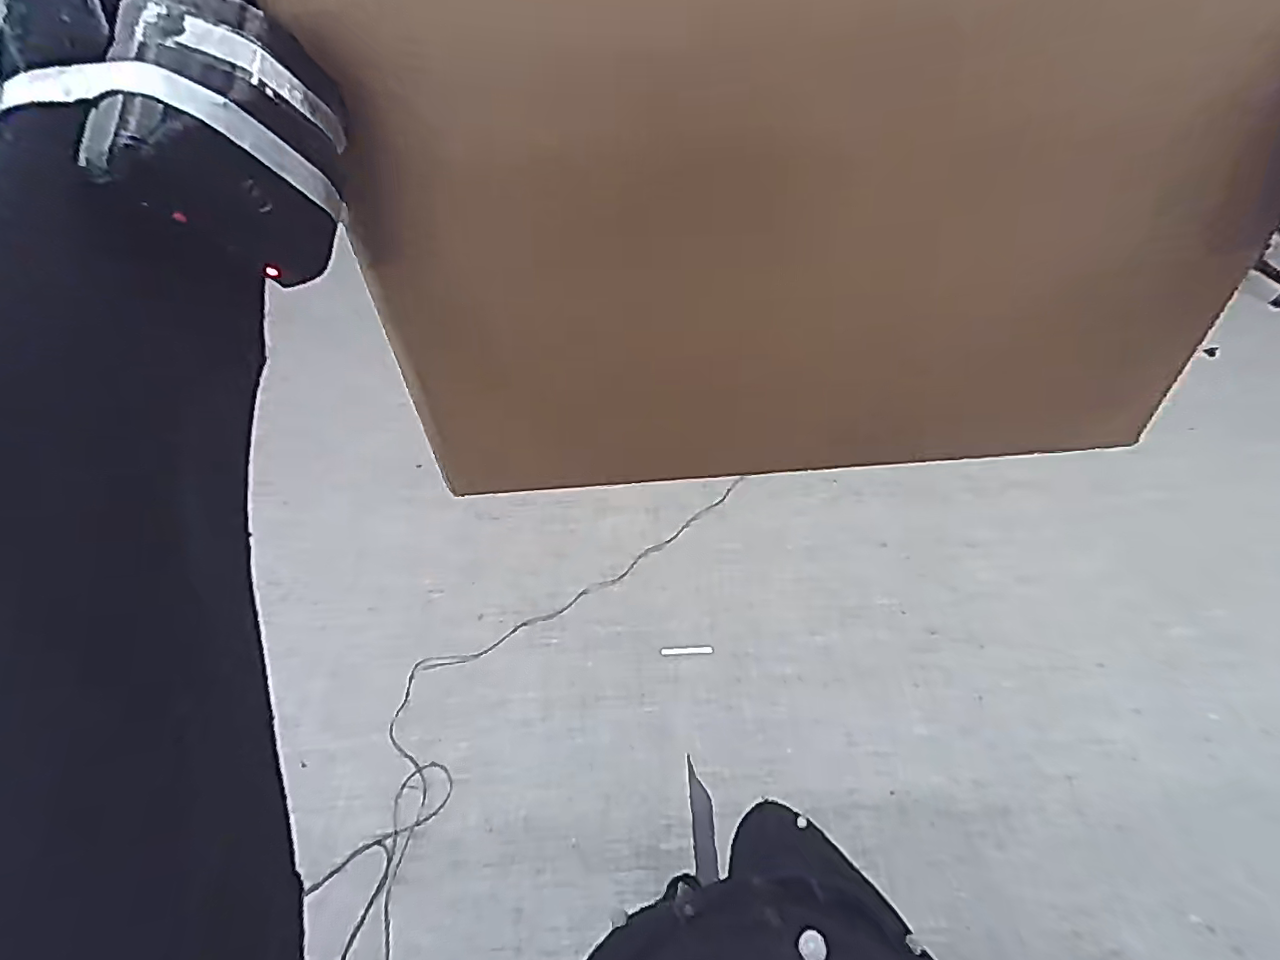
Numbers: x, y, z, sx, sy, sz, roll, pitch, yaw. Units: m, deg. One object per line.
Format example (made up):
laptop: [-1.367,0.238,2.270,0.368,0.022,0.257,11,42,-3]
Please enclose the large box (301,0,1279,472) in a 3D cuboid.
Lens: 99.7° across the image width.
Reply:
large box: [0.071,-0.226,0.342,0.408,0.320,0.320,-4,40,-1]
